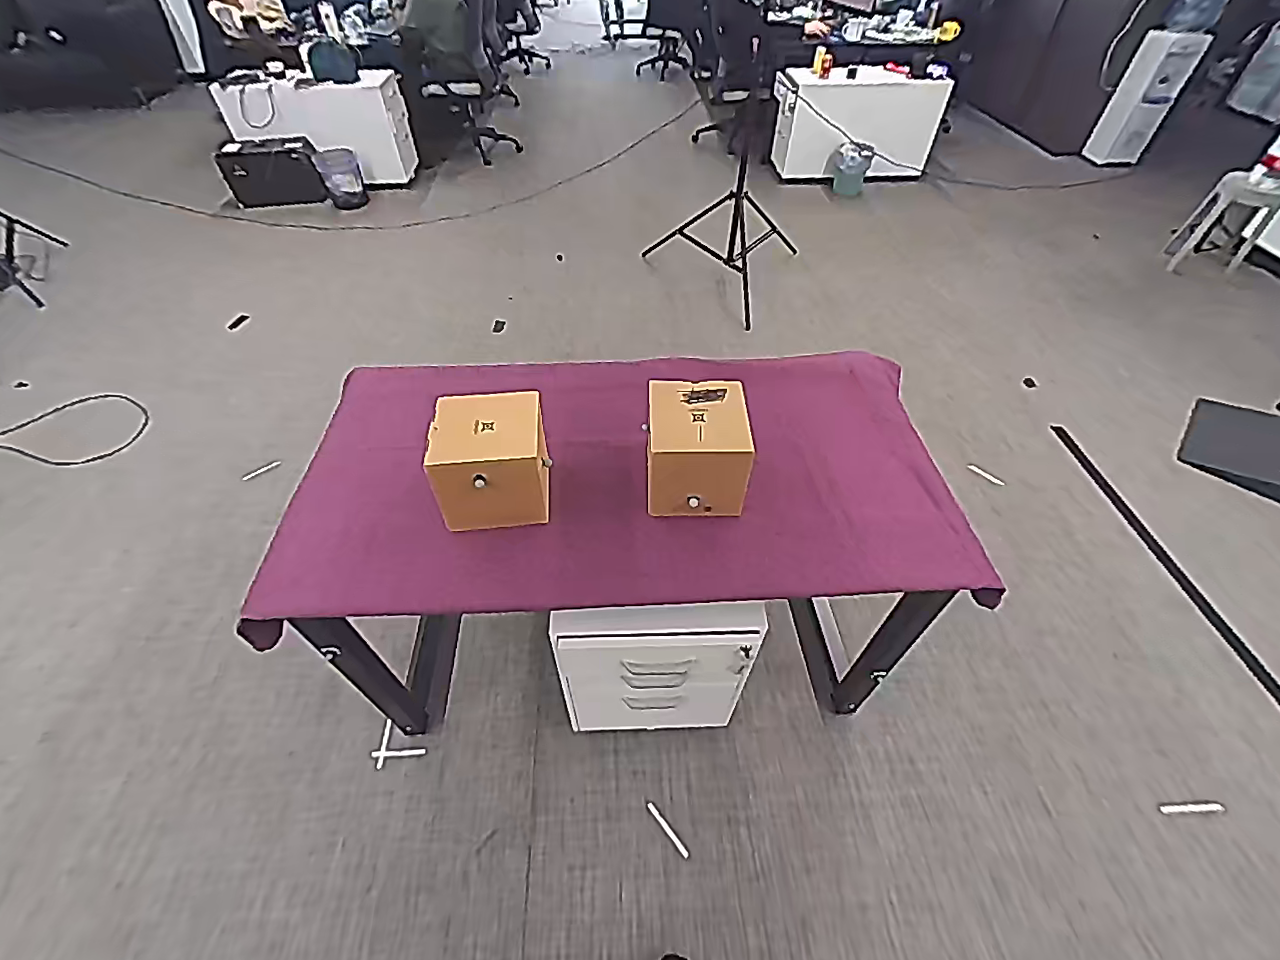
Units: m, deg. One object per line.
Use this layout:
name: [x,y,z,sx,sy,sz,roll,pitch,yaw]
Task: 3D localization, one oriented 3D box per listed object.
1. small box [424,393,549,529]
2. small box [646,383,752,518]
small box: [-0.255,-0.031,0.946,0.179,0.176,0.168,-5,48,-4]
small box: [0.096,-0.053,0.967,0.168,0.176,0.179,0,49,0]
